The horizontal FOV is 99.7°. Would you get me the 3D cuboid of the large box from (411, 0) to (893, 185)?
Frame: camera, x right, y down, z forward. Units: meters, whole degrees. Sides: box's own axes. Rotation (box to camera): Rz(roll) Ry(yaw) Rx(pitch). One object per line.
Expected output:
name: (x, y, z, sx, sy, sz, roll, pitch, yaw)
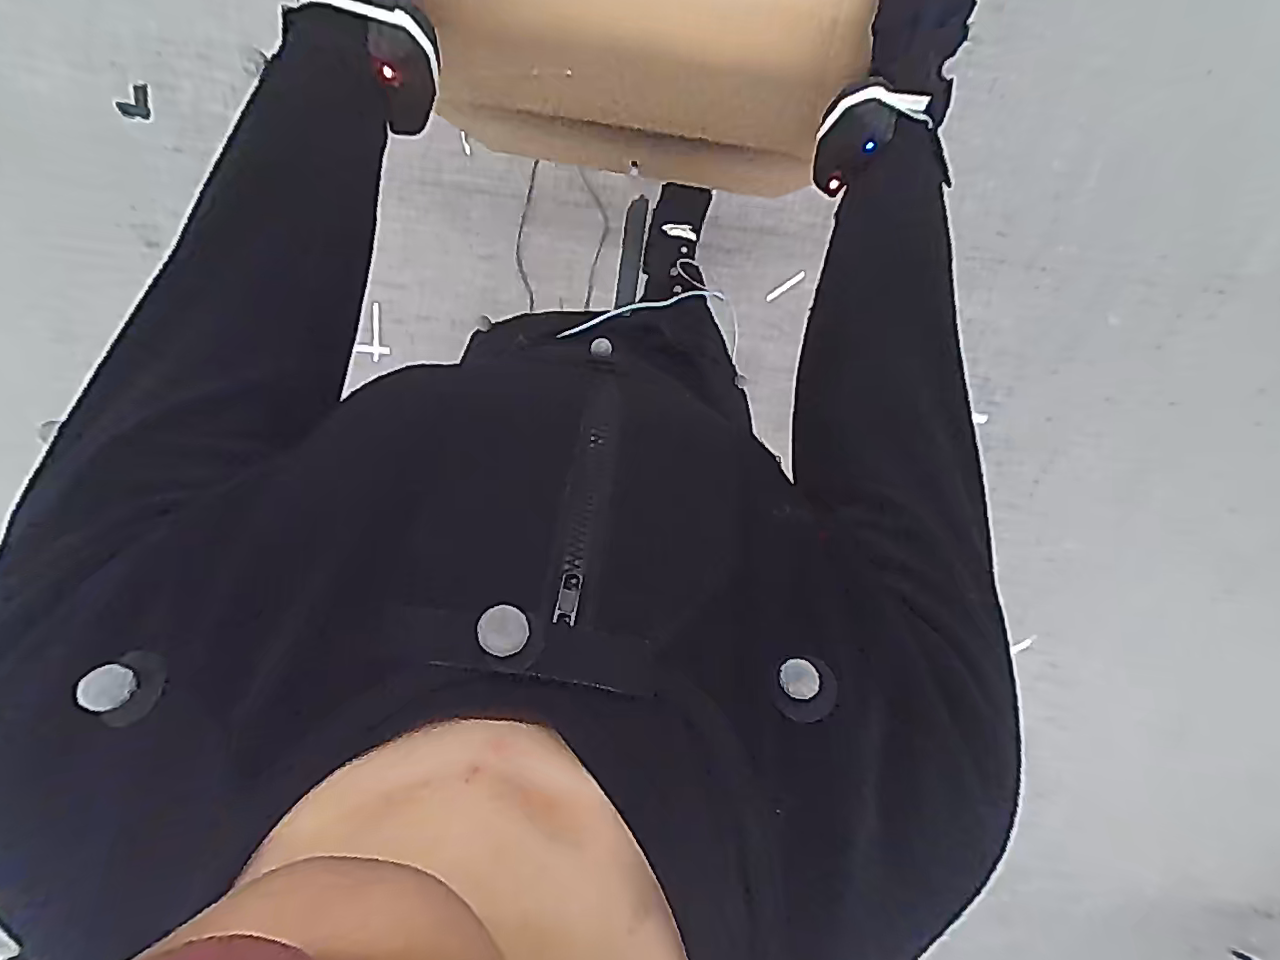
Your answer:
large box: (0.020, -0.515, 0.558, 0.408, 0.320, 0.320, 7, 112, -3)
